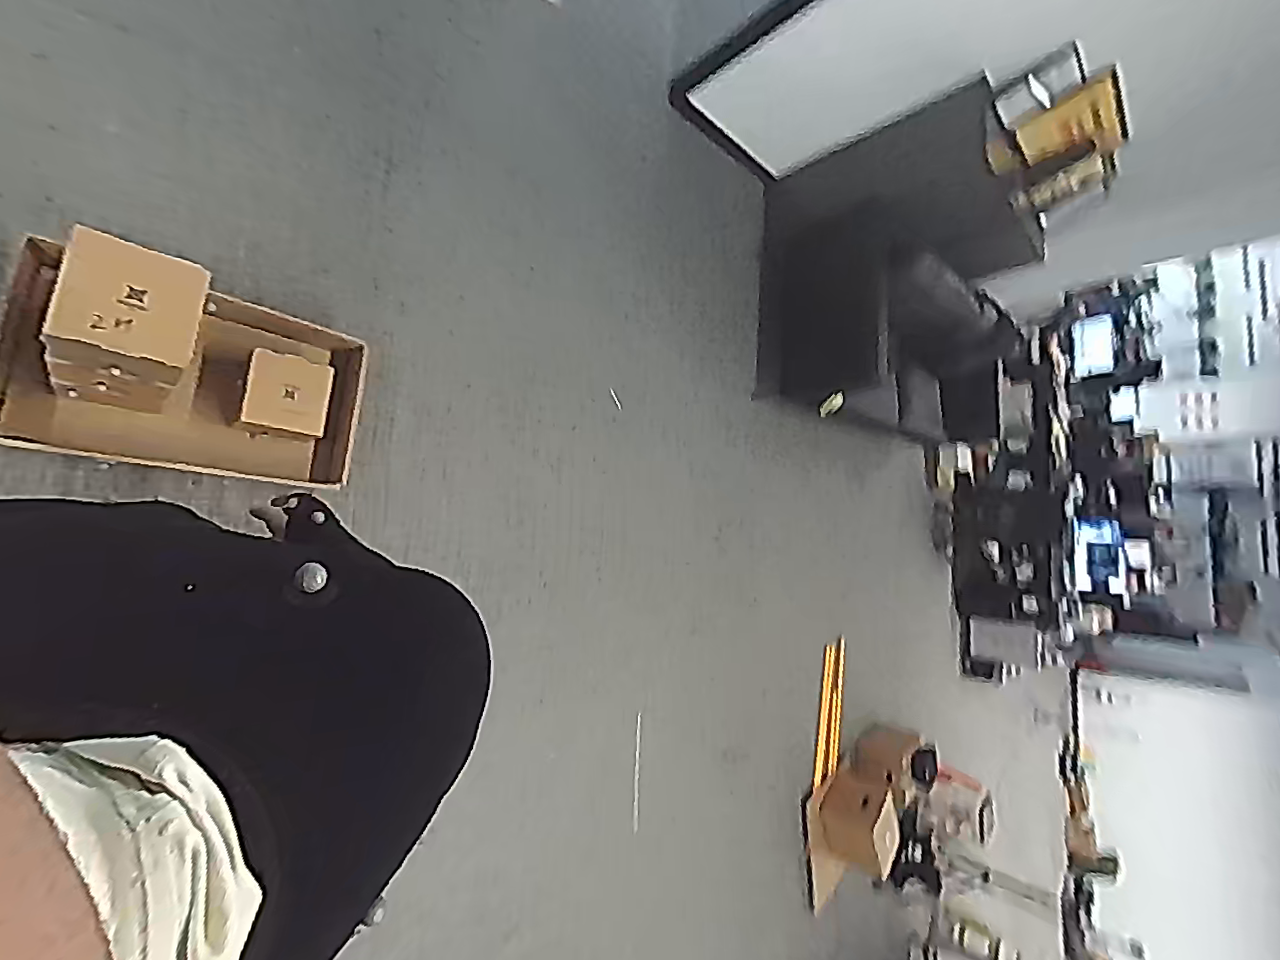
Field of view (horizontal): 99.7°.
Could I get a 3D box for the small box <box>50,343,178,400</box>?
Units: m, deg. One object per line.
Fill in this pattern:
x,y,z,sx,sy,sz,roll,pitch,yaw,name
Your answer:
-0.955,-0.263,1.004,0.168,0.176,0.179,15,77,-44,small box

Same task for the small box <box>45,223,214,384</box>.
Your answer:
-0.836,-0.276,0.891,0.168,0.176,0.179,16,76,-43,small box
